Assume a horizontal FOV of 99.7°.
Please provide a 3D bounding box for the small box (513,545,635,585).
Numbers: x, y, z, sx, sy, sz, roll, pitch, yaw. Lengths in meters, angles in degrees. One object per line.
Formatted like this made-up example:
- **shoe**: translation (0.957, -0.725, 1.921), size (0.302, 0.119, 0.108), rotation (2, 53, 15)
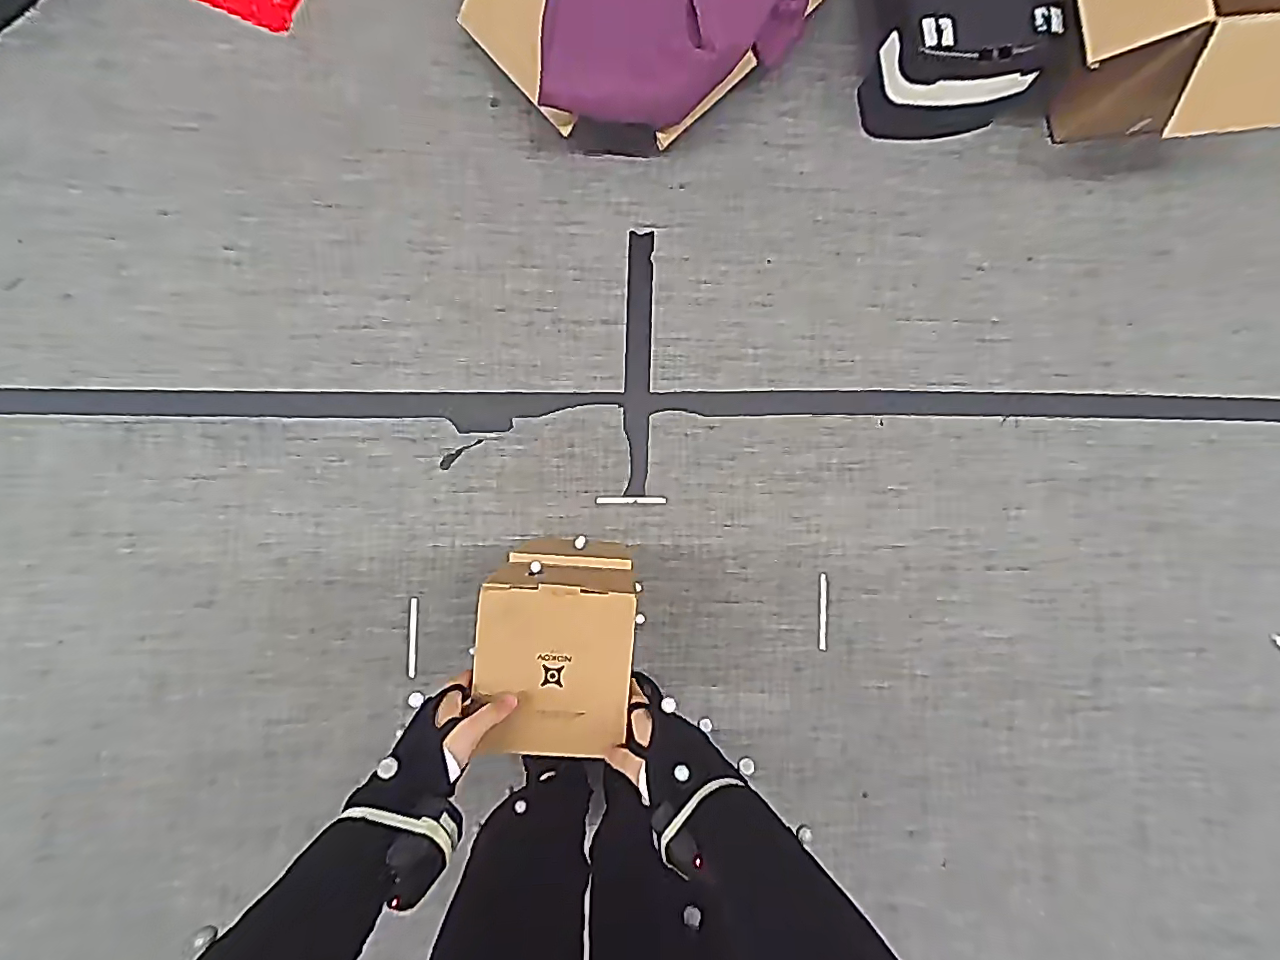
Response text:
- **small box**: translation (-0.100, 0.193, 0.805), size (0.168, 0.176, 0.179), rotation (4, 89, -3)

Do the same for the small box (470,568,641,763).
- **small box**: translation (-0.091, 0.204, 0.641), size (0.168, 0.176, 0.179), rotation (4, 89, -2)
